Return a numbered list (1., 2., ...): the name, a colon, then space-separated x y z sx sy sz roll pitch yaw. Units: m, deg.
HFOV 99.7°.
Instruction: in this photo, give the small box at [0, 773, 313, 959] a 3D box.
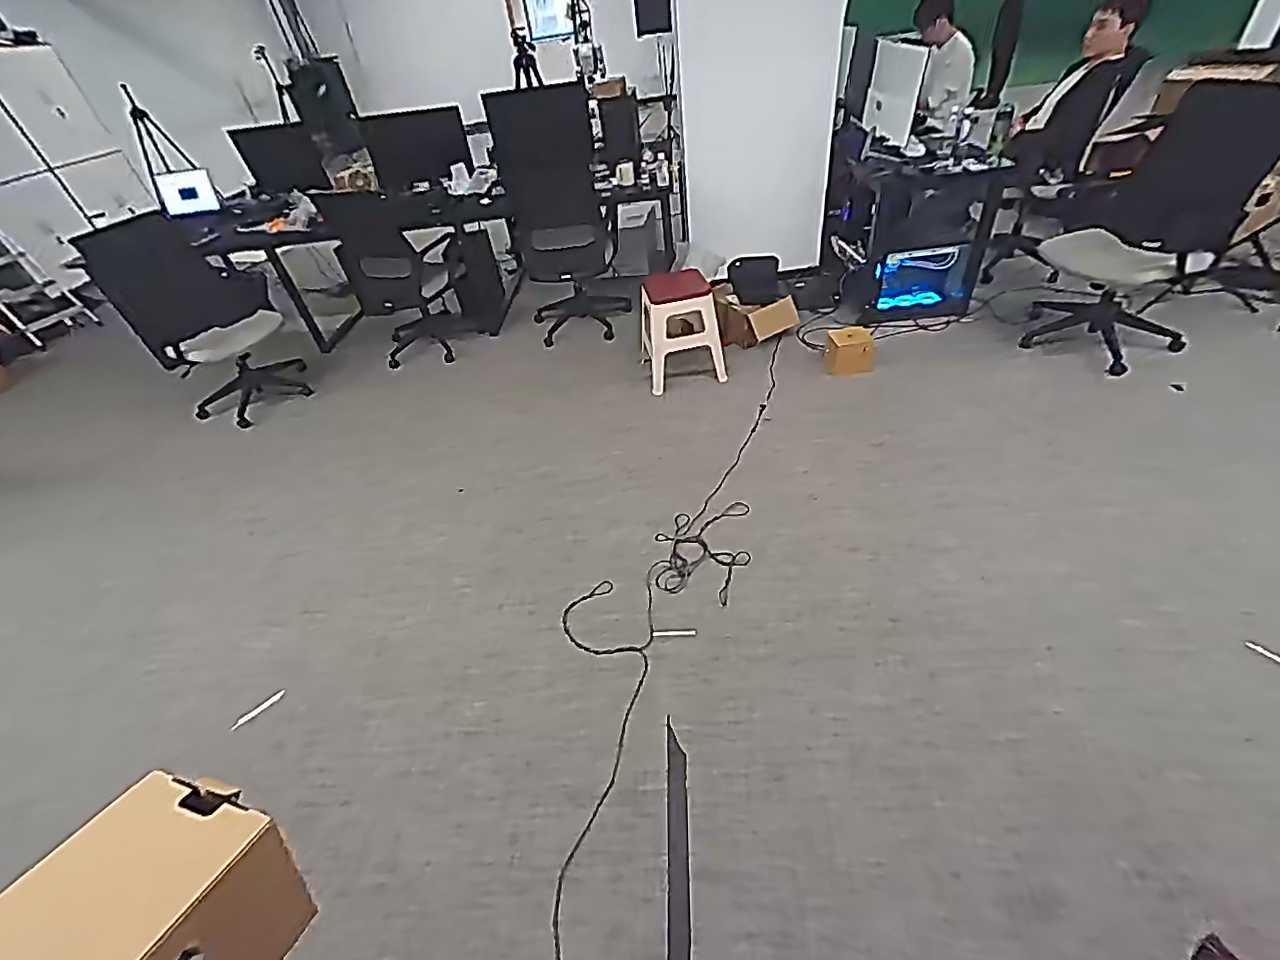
1. small box: -0.449 0.424 0.502 0.168 0.176 0.179 8 27 17
